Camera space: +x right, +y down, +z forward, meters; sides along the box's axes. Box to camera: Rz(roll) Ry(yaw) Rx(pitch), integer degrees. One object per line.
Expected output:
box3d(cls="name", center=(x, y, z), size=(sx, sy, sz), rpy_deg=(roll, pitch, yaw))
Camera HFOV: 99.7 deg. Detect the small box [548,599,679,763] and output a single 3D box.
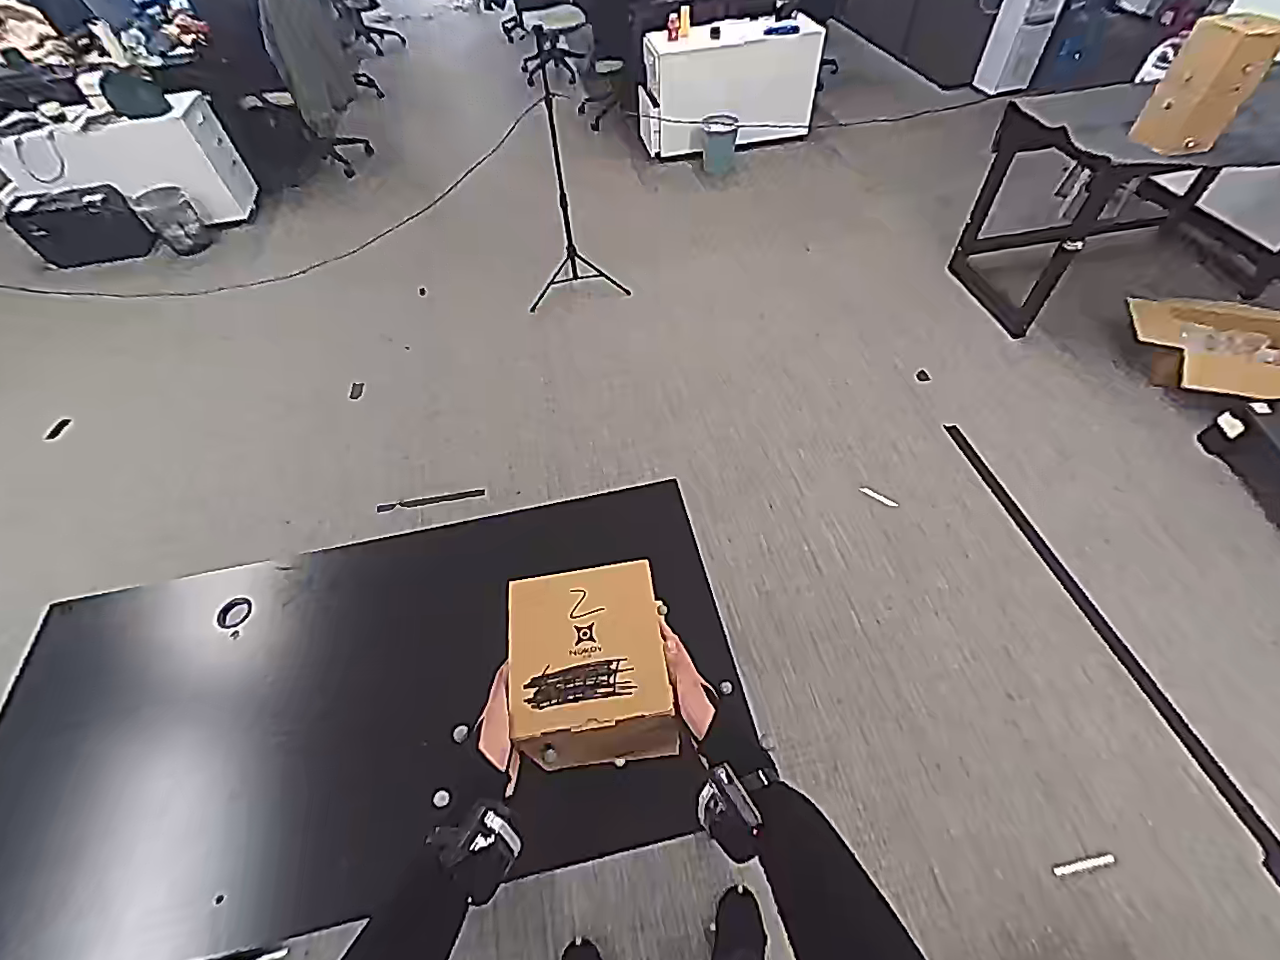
box3d(cls="small box", center=(-0.034, 0.293, 0.785), size=(0.168, 0.176, 0.179), rpy_deg=(-6, 53, 1))
